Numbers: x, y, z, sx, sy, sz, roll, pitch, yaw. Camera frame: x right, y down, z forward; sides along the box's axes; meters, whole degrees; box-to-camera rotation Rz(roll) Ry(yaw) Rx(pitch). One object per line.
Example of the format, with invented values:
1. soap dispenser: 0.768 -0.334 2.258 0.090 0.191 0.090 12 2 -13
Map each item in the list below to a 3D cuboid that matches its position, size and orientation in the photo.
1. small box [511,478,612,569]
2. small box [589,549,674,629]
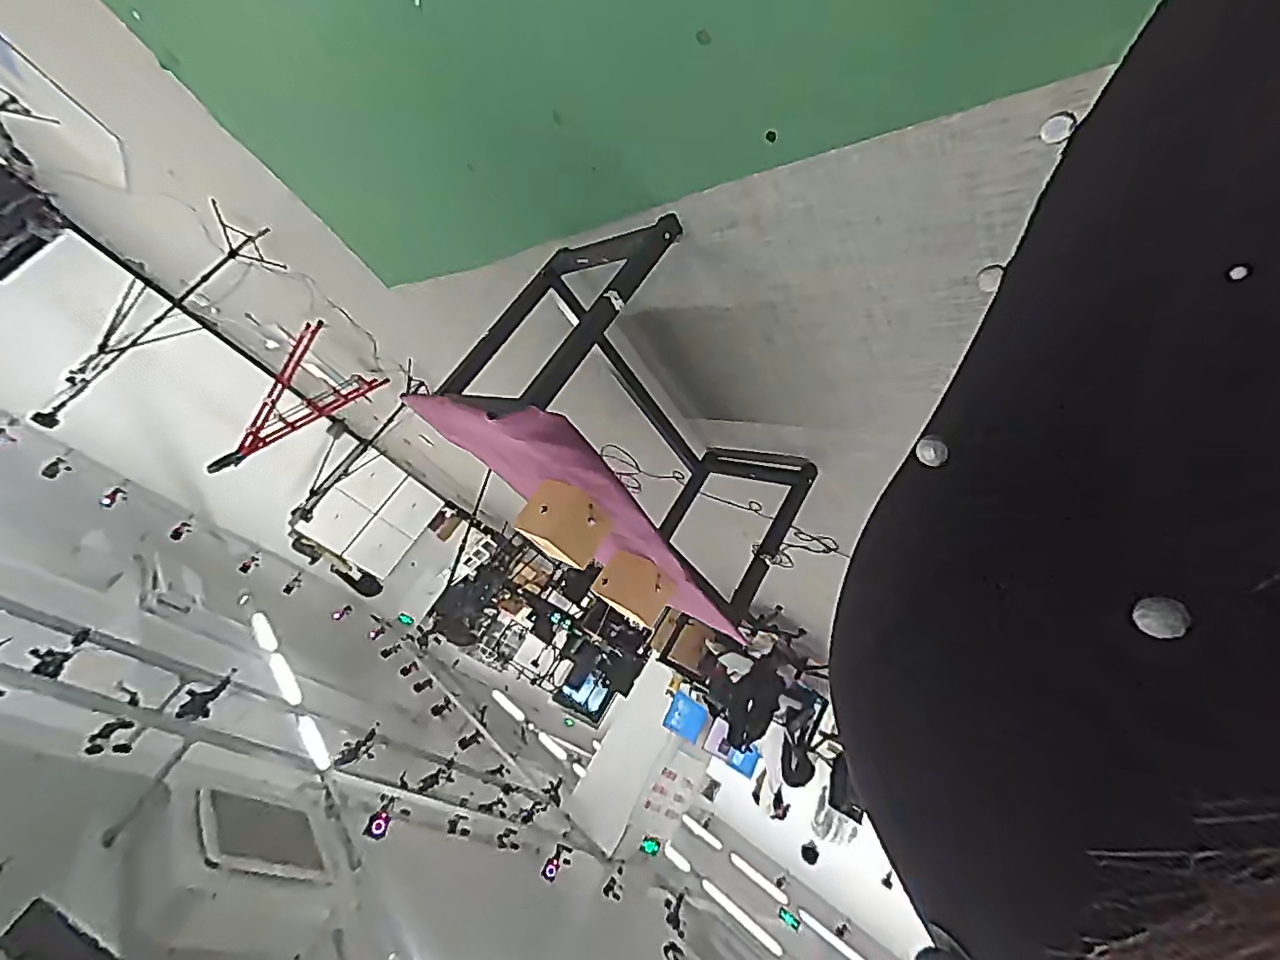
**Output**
1. small box: -0.210 0.112 1.481 0.179 0.176 0.168 13 153 47
2. small box: -0.023 0.343 1.741 0.179 0.176 0.168 14 154 48
